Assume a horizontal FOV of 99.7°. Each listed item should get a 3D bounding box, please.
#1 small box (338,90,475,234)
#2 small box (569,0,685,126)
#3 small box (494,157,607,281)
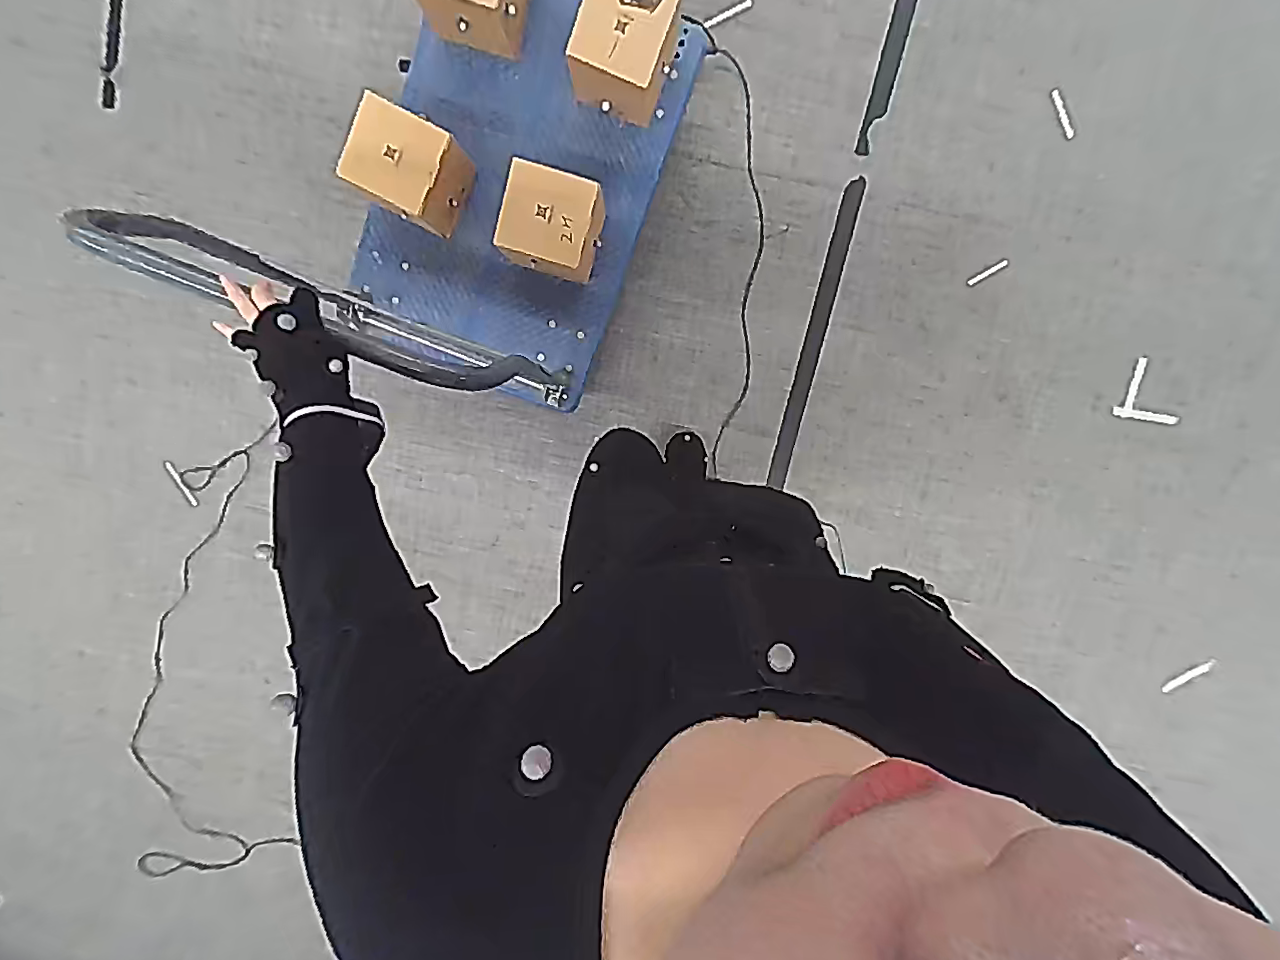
[{"bbox_3d":[-0.467,-0.634,1.105,0.179,0.176,0.168,26,98,-6],"label":"small box"},{"bbox_3d":[-0.025,-0.849,1.064,0.168,0.176,0.179,22,100,-3],"label":"small box"},{"bbox_3d":[-0.178,-0.527,1.121,0.179,0.176,0.168,17,100,-2],"label":"small box"}]
